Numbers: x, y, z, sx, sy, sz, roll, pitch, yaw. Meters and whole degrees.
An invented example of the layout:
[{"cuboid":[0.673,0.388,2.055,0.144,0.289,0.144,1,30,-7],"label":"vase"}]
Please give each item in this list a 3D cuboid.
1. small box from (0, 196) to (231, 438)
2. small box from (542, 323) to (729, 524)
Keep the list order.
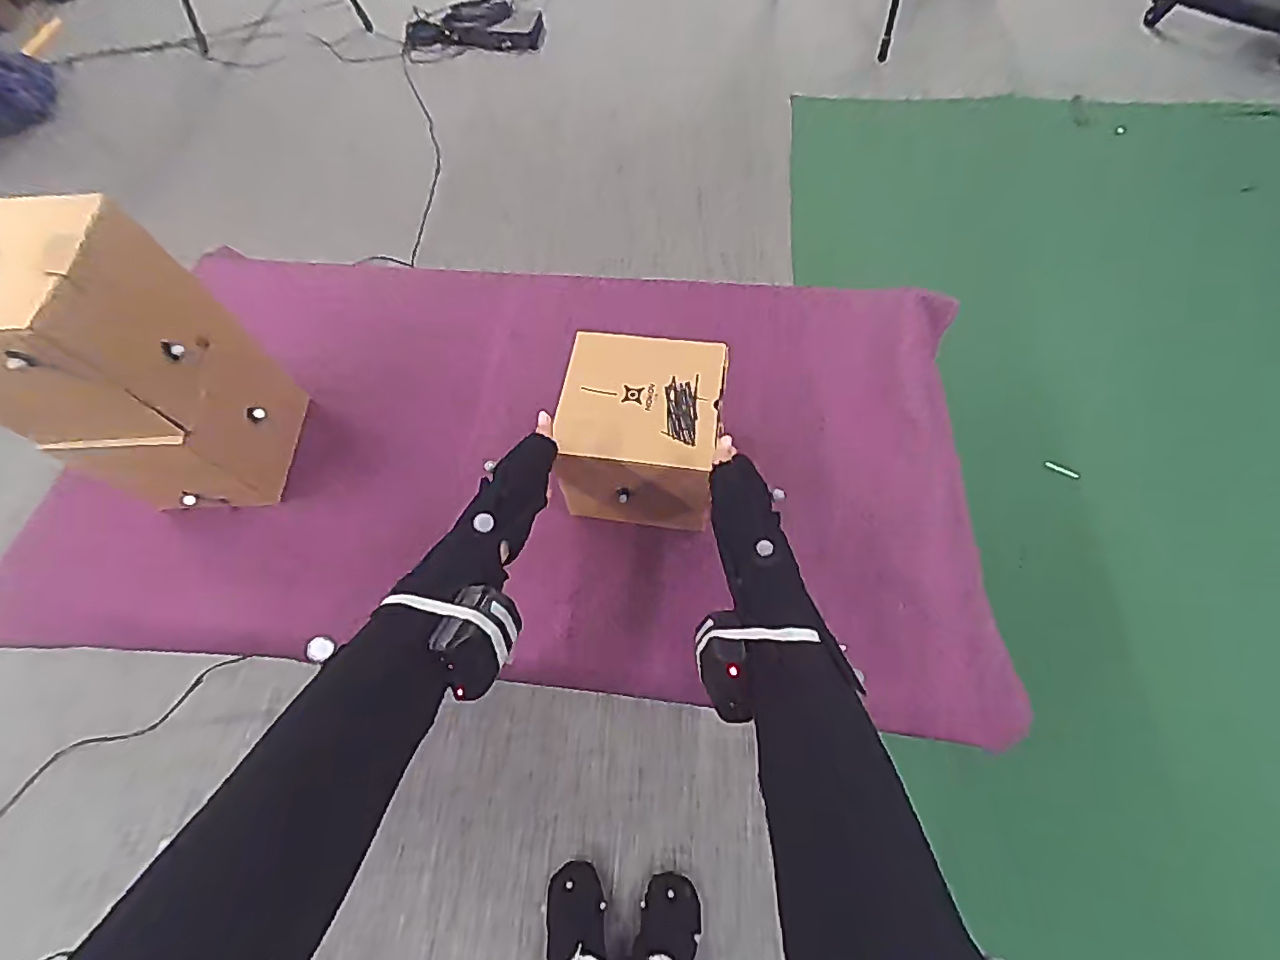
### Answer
[{"cuboid":[-0.576,-0.154,0.548,0.179,0.176,0.168,-4,64,0],"label":"small box"},{"cuboid":[0.002,-0.060,0.652,0.179,0.176,0.168,10,63,8],"label":"small box"}]
